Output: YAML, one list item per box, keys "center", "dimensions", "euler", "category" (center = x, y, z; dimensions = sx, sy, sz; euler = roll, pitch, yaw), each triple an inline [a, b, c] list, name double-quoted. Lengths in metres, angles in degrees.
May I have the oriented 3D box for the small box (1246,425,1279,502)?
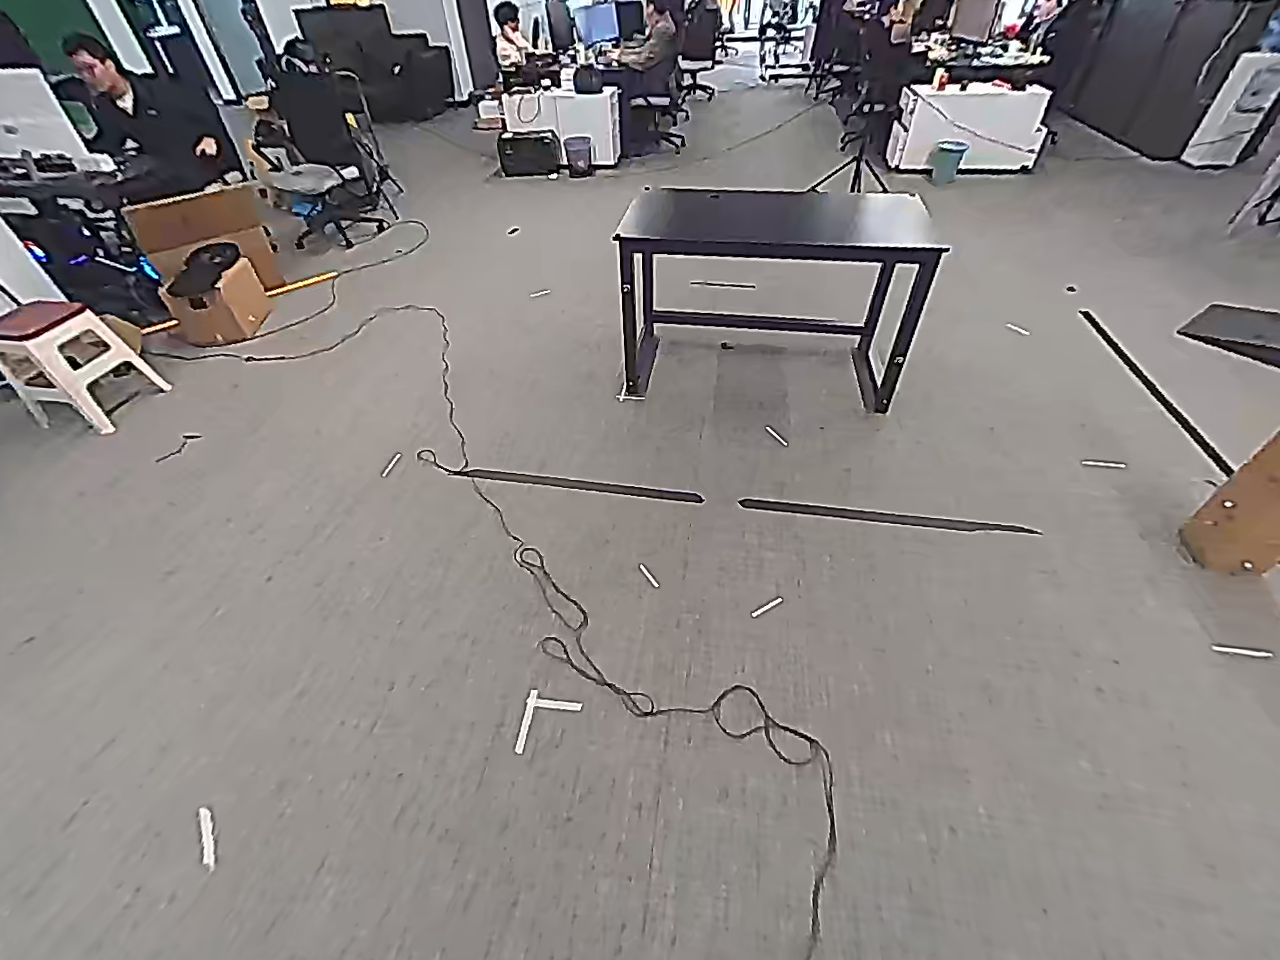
- center: [1.919, -0.039, 1.548]
  dimensions: [0.179, 0.176, 0.168]
  euler: [5, 46, 7]
  category: "small box"

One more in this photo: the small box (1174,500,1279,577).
- center: [1.934, 0.192, 1.779]
  dimensions: [0.168, 0.176, 0.179]
  euler: [5, 45, 9]
  category: "small box"

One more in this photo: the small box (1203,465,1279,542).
- center: [1.922, 0.075, 1.663]
  dimensions: [0.179, 0.176, 0.168]
  euler: [5, 45, 9]
  category: "small box"
